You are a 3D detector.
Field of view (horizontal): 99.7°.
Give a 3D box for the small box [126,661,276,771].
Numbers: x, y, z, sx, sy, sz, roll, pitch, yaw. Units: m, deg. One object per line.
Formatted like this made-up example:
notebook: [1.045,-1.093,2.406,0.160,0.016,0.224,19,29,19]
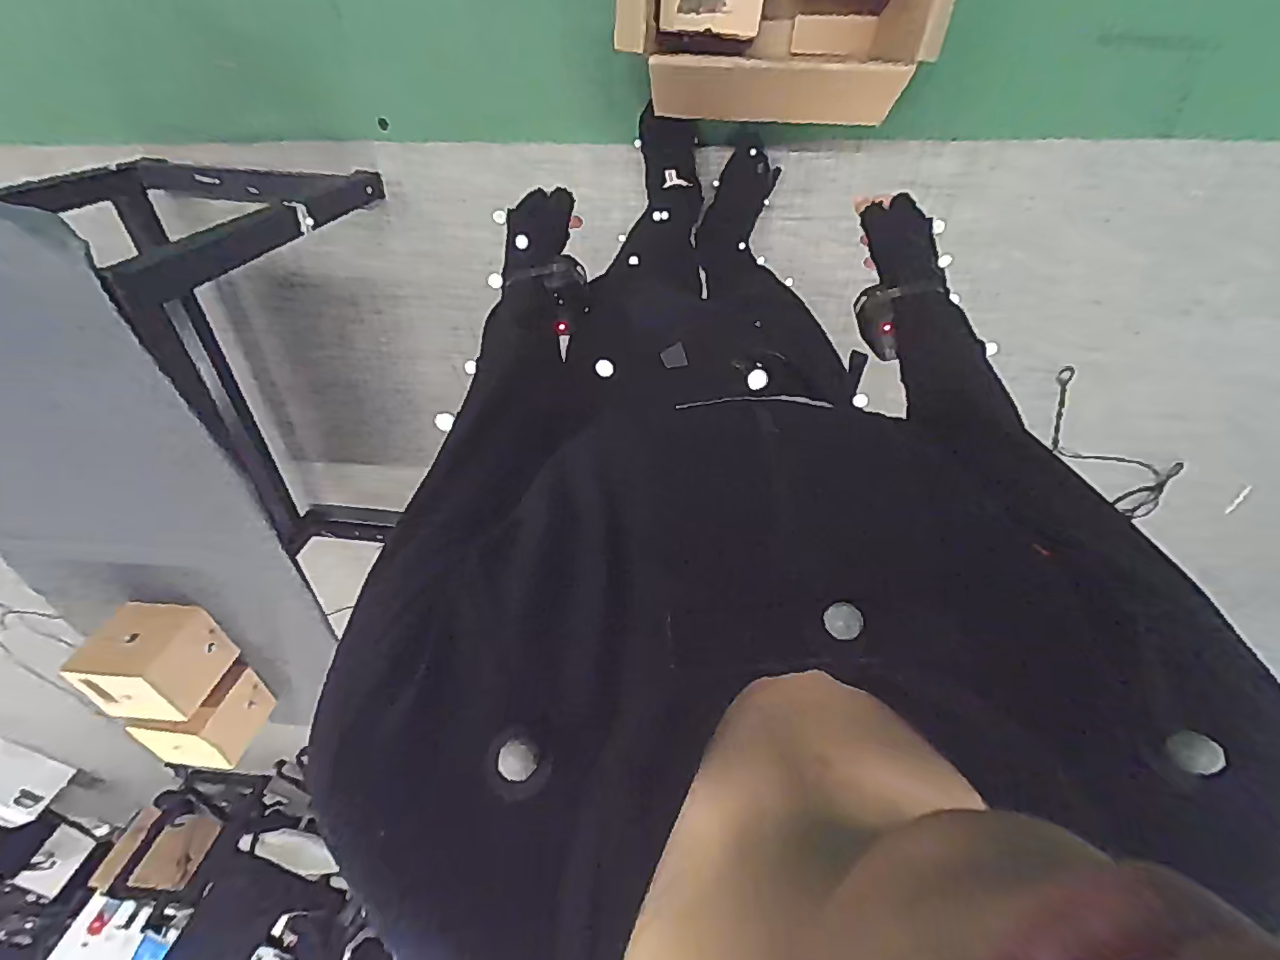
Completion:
small box: [-0.997,0.539,1.247,0.179,0.176,0.168,4,129,4]
